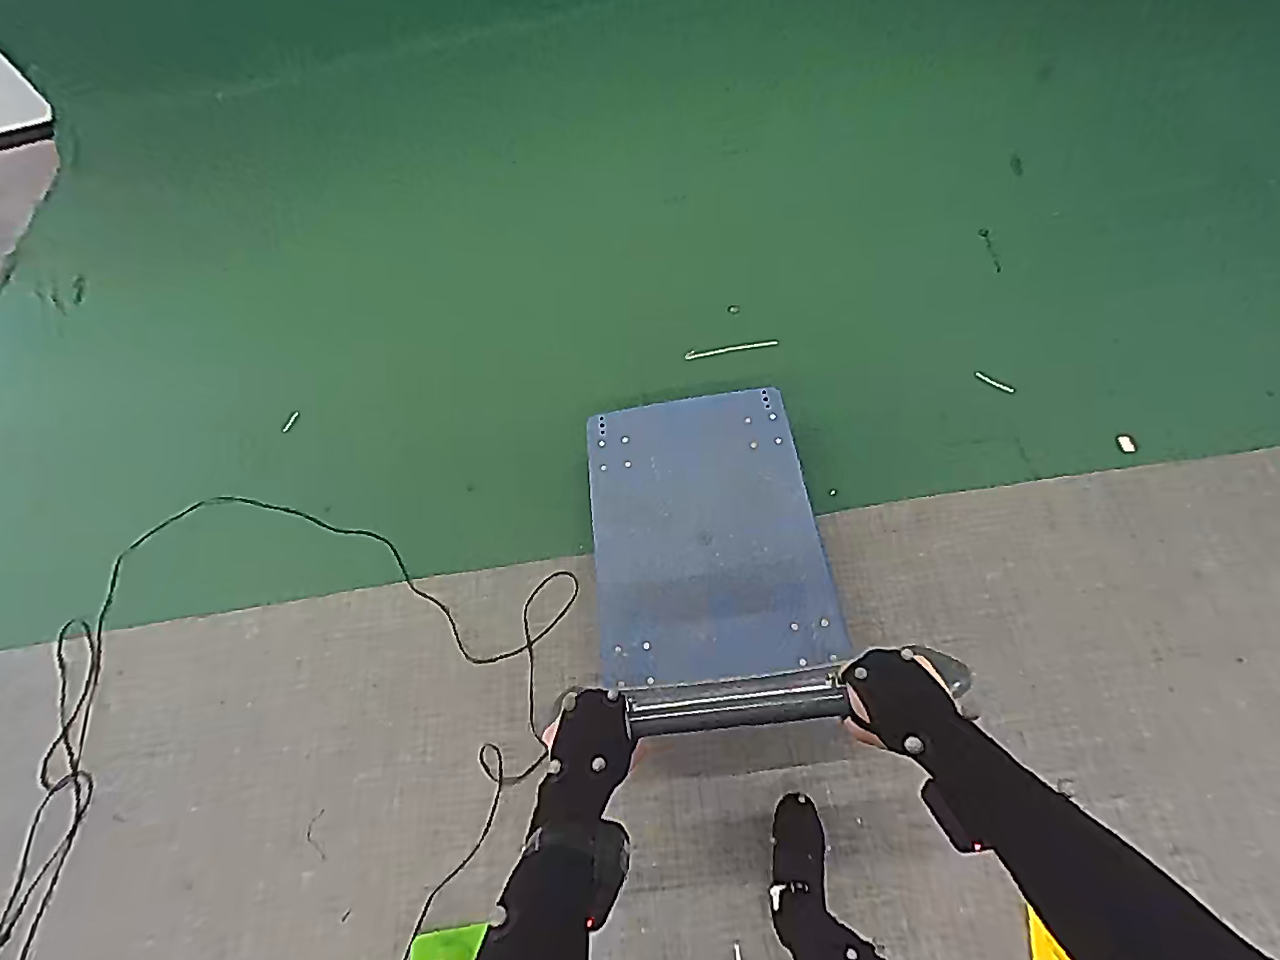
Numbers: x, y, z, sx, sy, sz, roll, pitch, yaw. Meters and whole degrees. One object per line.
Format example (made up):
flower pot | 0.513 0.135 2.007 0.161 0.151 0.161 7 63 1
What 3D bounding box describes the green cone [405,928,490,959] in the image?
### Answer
green cone | -0.446 1.037 1.024 0.202 0.368 0.200 -13 62 3
